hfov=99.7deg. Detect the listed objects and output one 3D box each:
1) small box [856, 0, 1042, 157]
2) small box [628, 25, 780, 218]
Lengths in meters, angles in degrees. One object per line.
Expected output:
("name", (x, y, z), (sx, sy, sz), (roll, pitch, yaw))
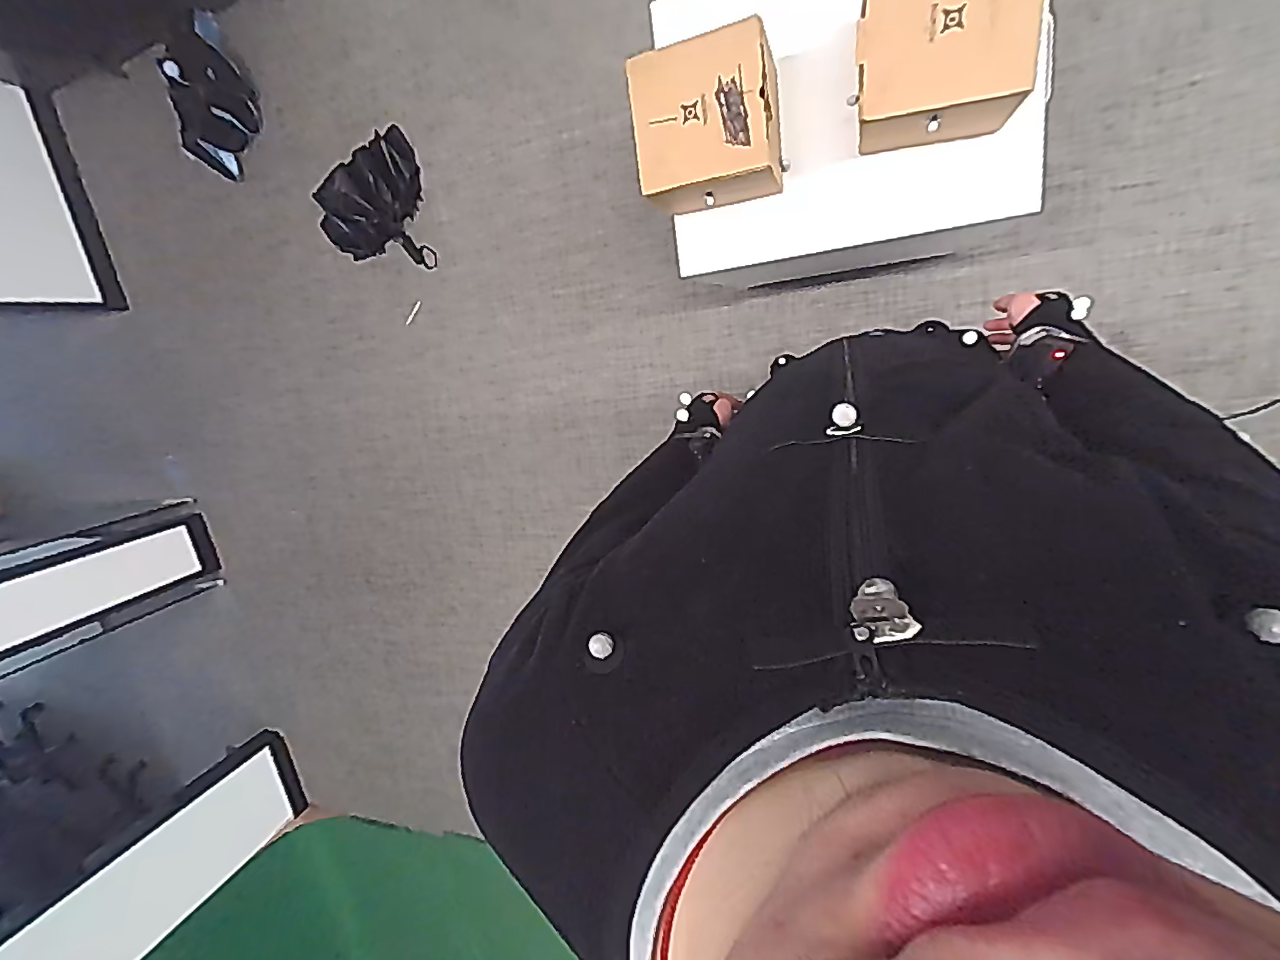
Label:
("small box", (0.361, -0.513, 0.658), (0.179, 0.176, 0.168), (2, 108, 20))
("small box", (0.101, -0.486, 0.765), (0.179, 0.176, 0.168), (-1, 105, 22))
